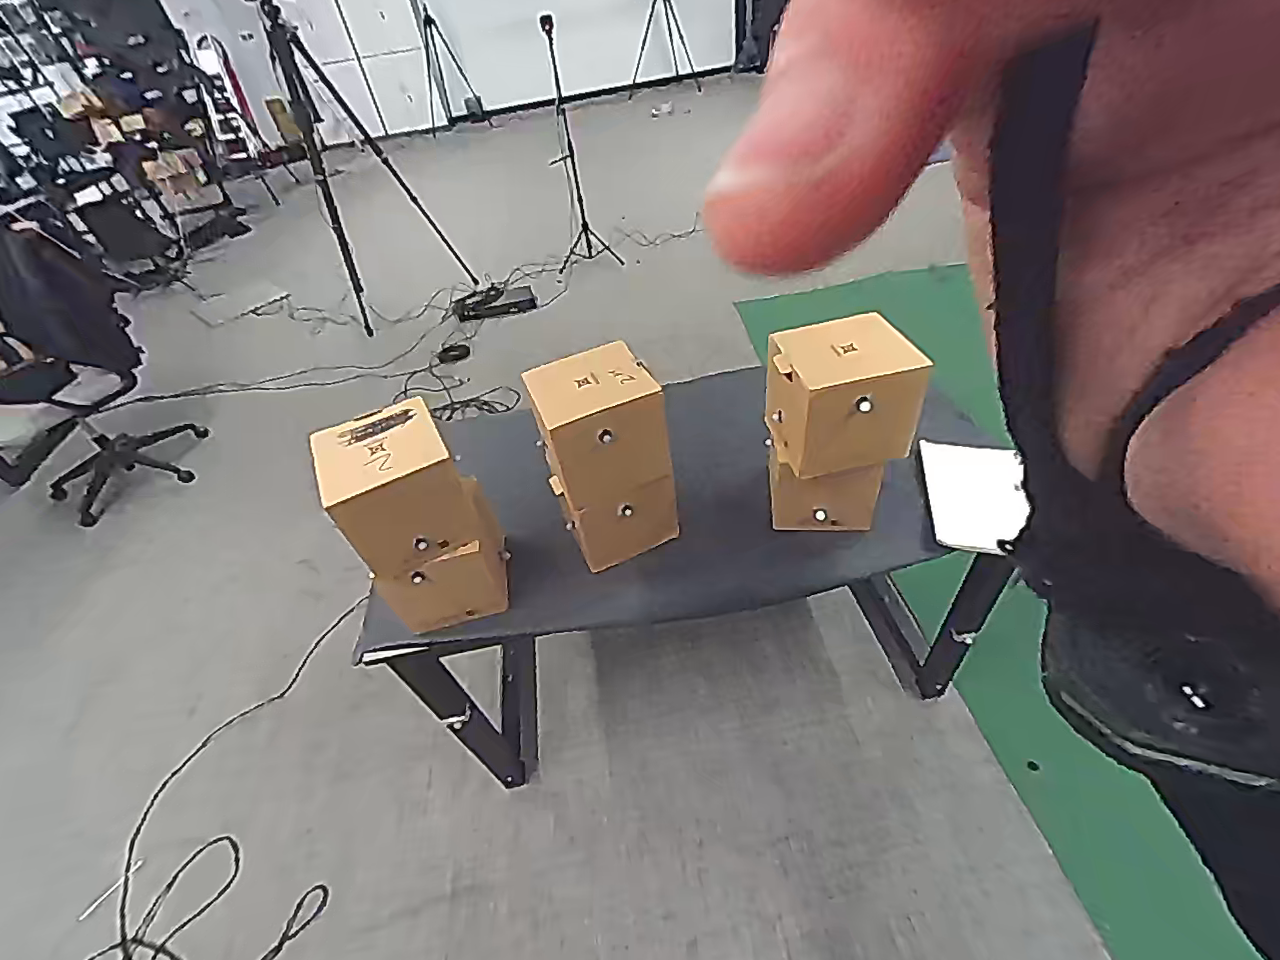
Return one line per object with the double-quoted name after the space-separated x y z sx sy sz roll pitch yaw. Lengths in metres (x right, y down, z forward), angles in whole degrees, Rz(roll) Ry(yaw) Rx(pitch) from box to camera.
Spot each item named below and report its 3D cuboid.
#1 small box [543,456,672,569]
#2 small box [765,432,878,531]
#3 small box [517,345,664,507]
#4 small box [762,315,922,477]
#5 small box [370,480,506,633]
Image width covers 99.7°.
-0.054 0.031 0.984 0.179 0.176 0.168 -23 46 -13 "small box"
0.313 -0.029 0.972 0.168 0.176 0.179 -1 45 11 "small box"
-0.075 -0.084 0.868 0.179 0.176 0.168 -21 45 -11 "small box"
0.298 -0.129 0.842 0.179 0.176 0.168 -13 43 -1 "small box"
-0.336 0.131 0.930 0.168 0.176 0.179 -14 44 -5 "small box"
